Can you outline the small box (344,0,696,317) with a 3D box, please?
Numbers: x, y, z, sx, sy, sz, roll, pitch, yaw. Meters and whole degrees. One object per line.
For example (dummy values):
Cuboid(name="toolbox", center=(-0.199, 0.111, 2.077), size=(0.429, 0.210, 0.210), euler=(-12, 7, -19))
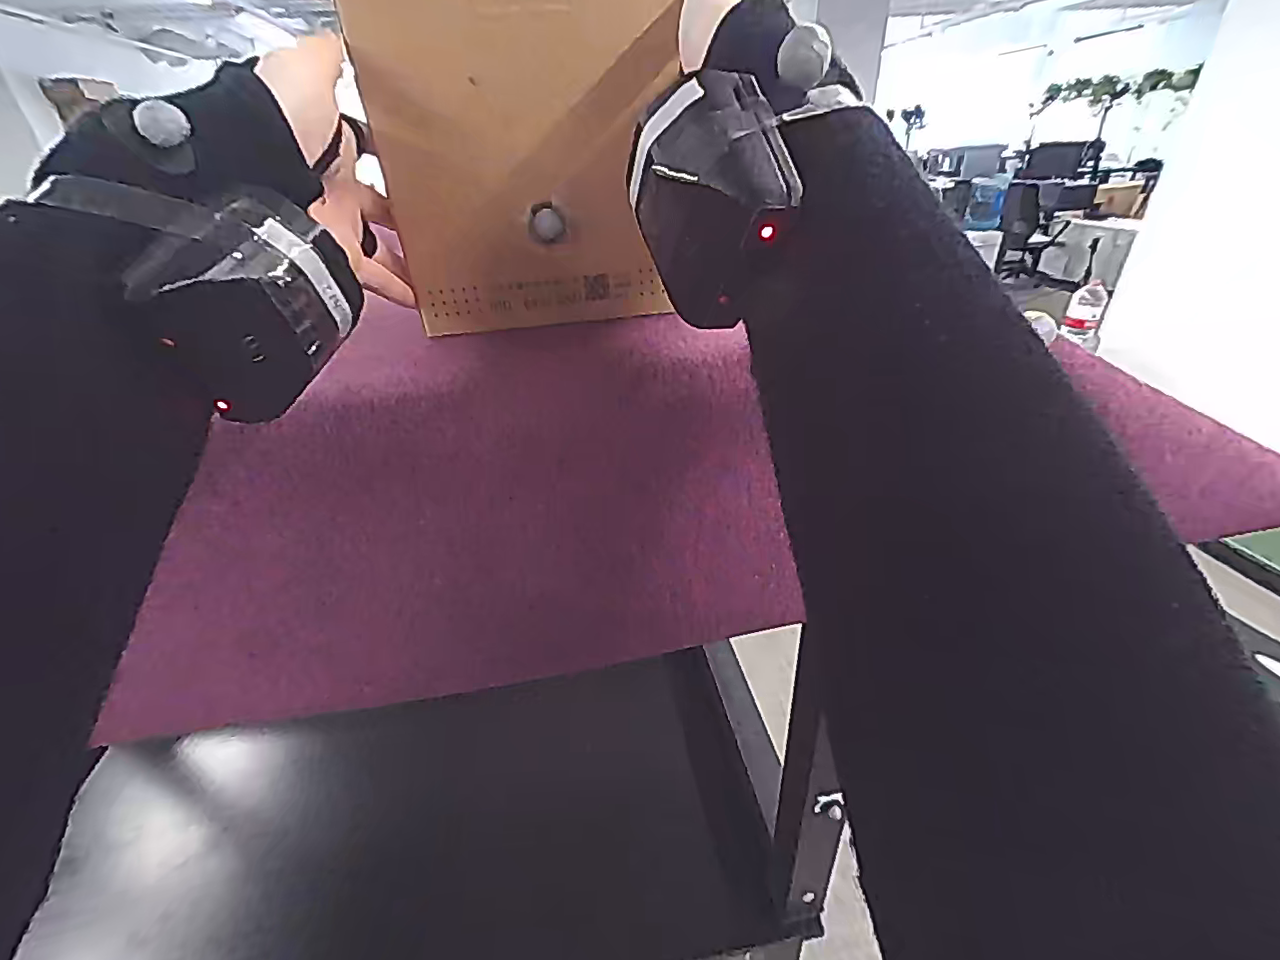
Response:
Cuboid(name="small box", center=(-0.060, -0.211, 0.349), size=(0.168, 0.176, 0.179), euler=(-7, 31, -3))
